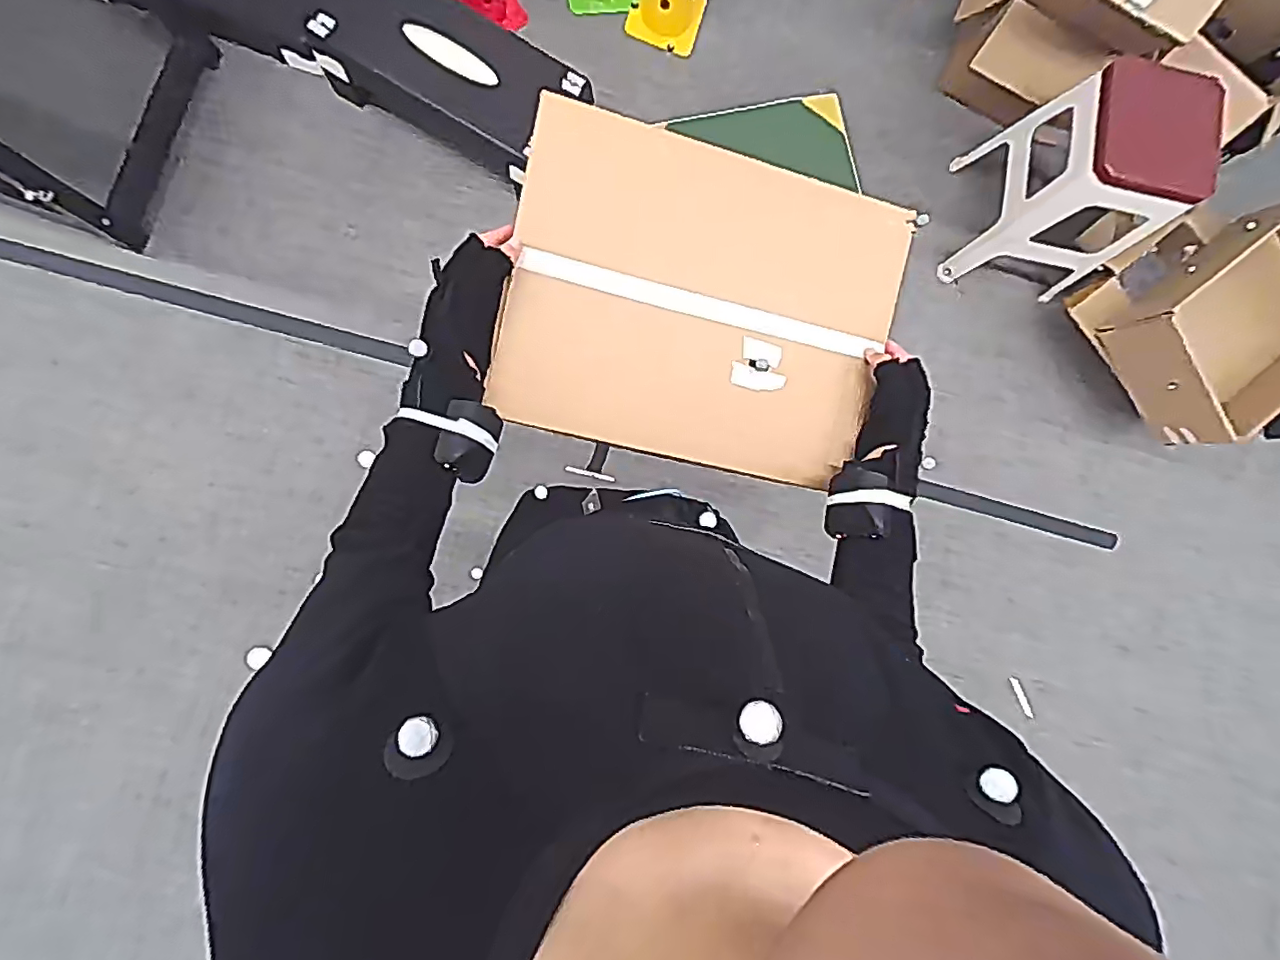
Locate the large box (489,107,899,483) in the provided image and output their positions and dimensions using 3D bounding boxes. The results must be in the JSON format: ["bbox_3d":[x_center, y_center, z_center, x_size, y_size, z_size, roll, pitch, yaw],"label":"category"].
[{"bbox_3d":[0.041,-0.195,0.718,0.408,0.320,0.320,12,94,-10],"label":"large box"}]
